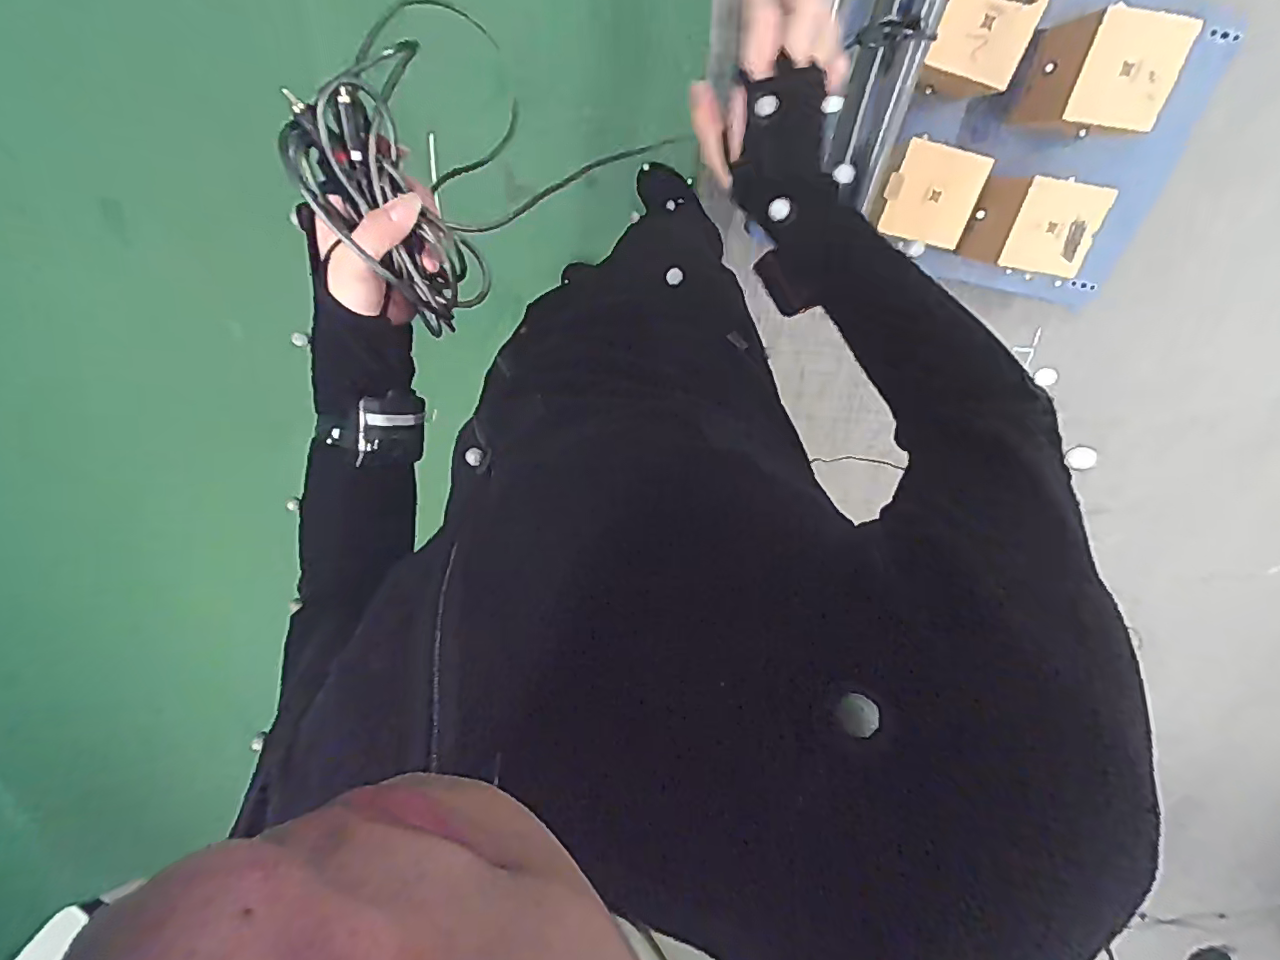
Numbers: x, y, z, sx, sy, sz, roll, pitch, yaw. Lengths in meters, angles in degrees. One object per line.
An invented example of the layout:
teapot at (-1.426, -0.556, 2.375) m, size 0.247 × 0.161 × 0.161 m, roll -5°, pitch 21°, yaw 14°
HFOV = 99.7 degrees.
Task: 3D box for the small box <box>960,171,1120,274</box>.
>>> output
small box at (0.826, -0.545, 1.139) m, size 0.179 × 0.176 × 0.168 m, roll 8°, pitch 118°, yaw -3°

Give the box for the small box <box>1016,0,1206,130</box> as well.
small box at (0.862, -0.767, 1.015) m, size 0.179 × 0.176 × 0.168 m, roll 6°, pitch 120°, yaw -3°

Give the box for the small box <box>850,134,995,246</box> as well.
small box at (0.568, -0.596, 1.114) m, size 0.179 × 0.176 × 0.168 m, roll 11°, pitch 119°, yaw -5°
